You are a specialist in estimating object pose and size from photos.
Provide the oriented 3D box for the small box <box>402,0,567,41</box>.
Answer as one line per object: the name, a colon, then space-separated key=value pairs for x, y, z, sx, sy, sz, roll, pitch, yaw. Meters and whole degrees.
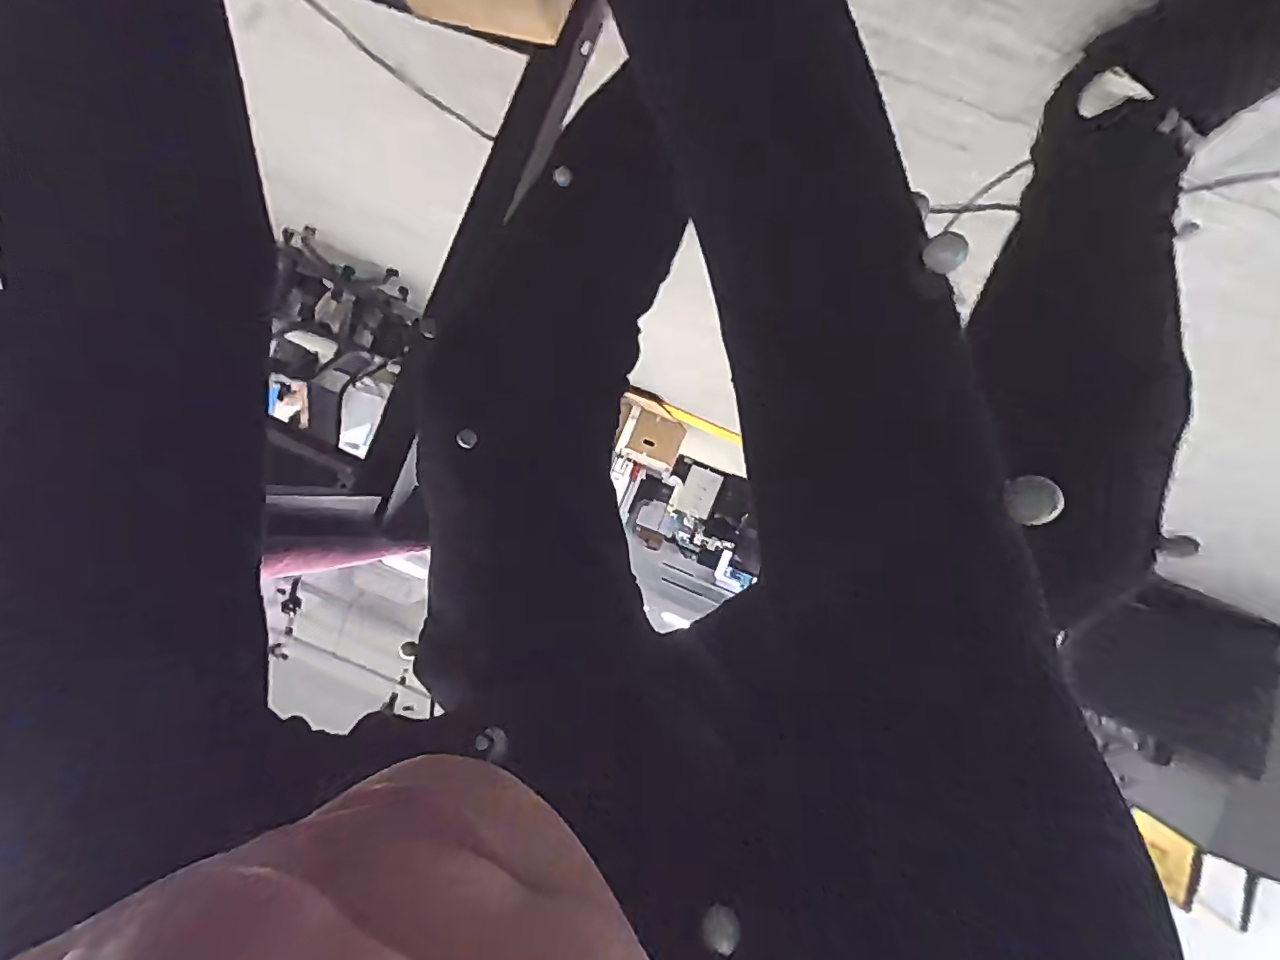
small box: x=-0.147 y=-0.541 z=0.468 sx=0.179 sy=0.176 sz=0.168 roll=22 pitch=179 yaw=12
